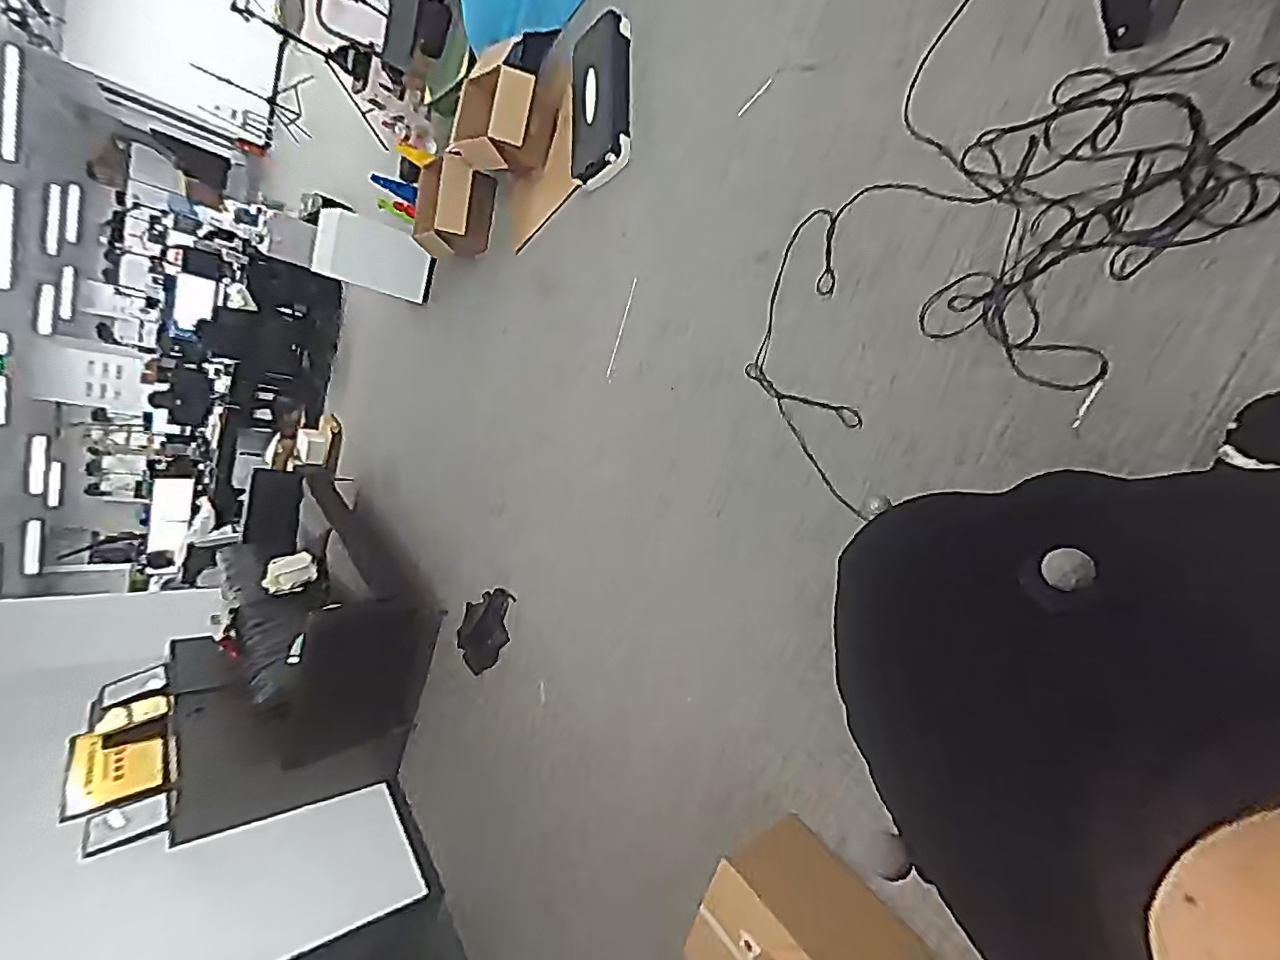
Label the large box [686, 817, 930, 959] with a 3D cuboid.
[{"bbox_3d":[0.389,1.127,1.291,0.408,0.320,0.320,32,107,45],"label":"large box"}]
